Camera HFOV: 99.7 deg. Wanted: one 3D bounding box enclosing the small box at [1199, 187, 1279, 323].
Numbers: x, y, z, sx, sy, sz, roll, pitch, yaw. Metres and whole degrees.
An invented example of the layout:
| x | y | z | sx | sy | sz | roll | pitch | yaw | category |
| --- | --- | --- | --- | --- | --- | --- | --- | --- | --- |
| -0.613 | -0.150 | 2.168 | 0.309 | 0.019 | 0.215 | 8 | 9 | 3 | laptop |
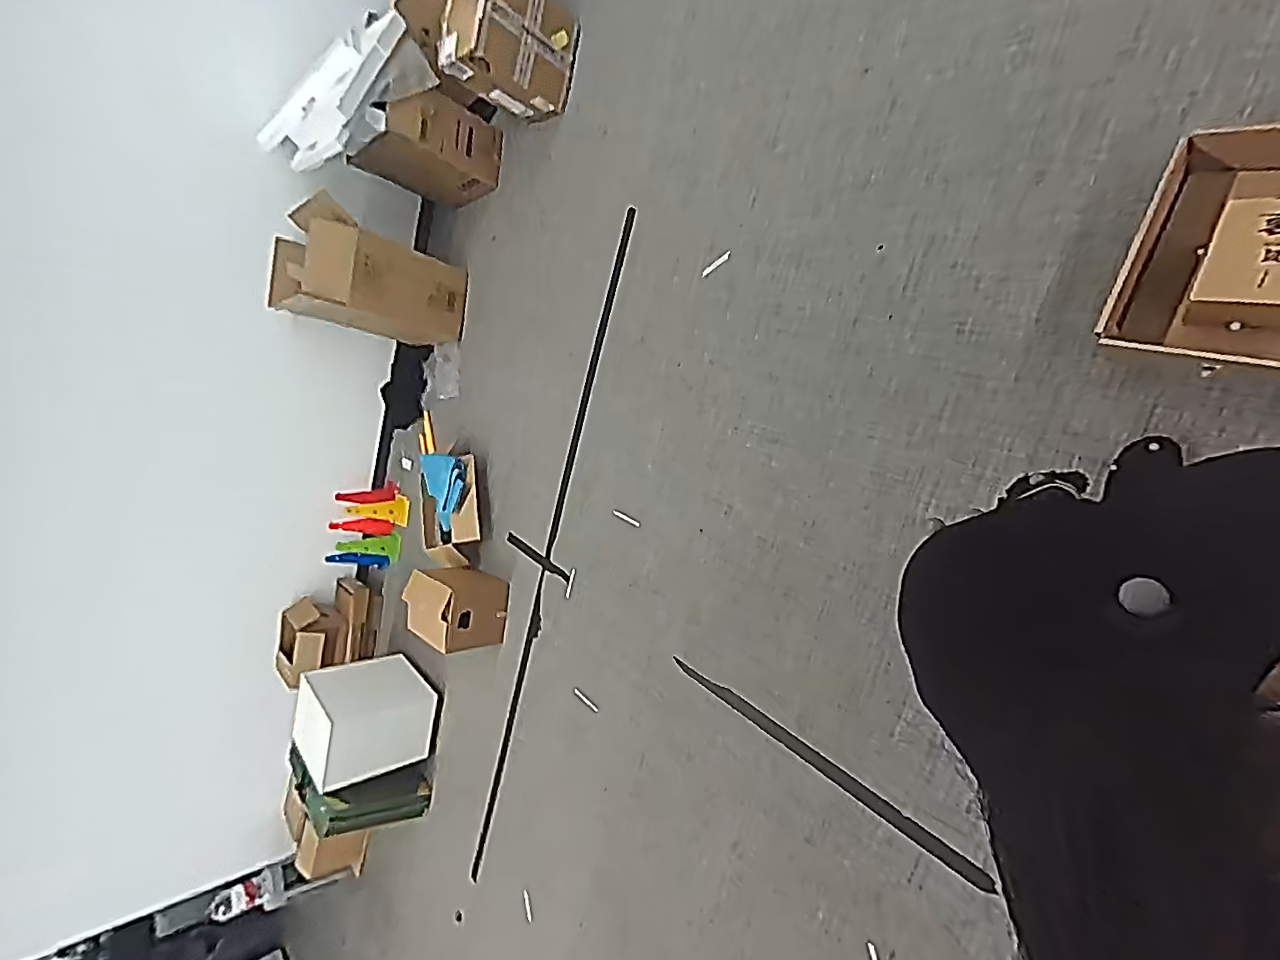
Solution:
| x | y | z | sx | sy | sz | roll | pitch | yaw | category |
| --- | --- | --- | --- | --- | --- | --- | --- | --- | --- |
| 1.116 | -0.385 | 0.939 | 0.168 | 0.176 | 0.179 | 22 | 102 | 41 | small box |
